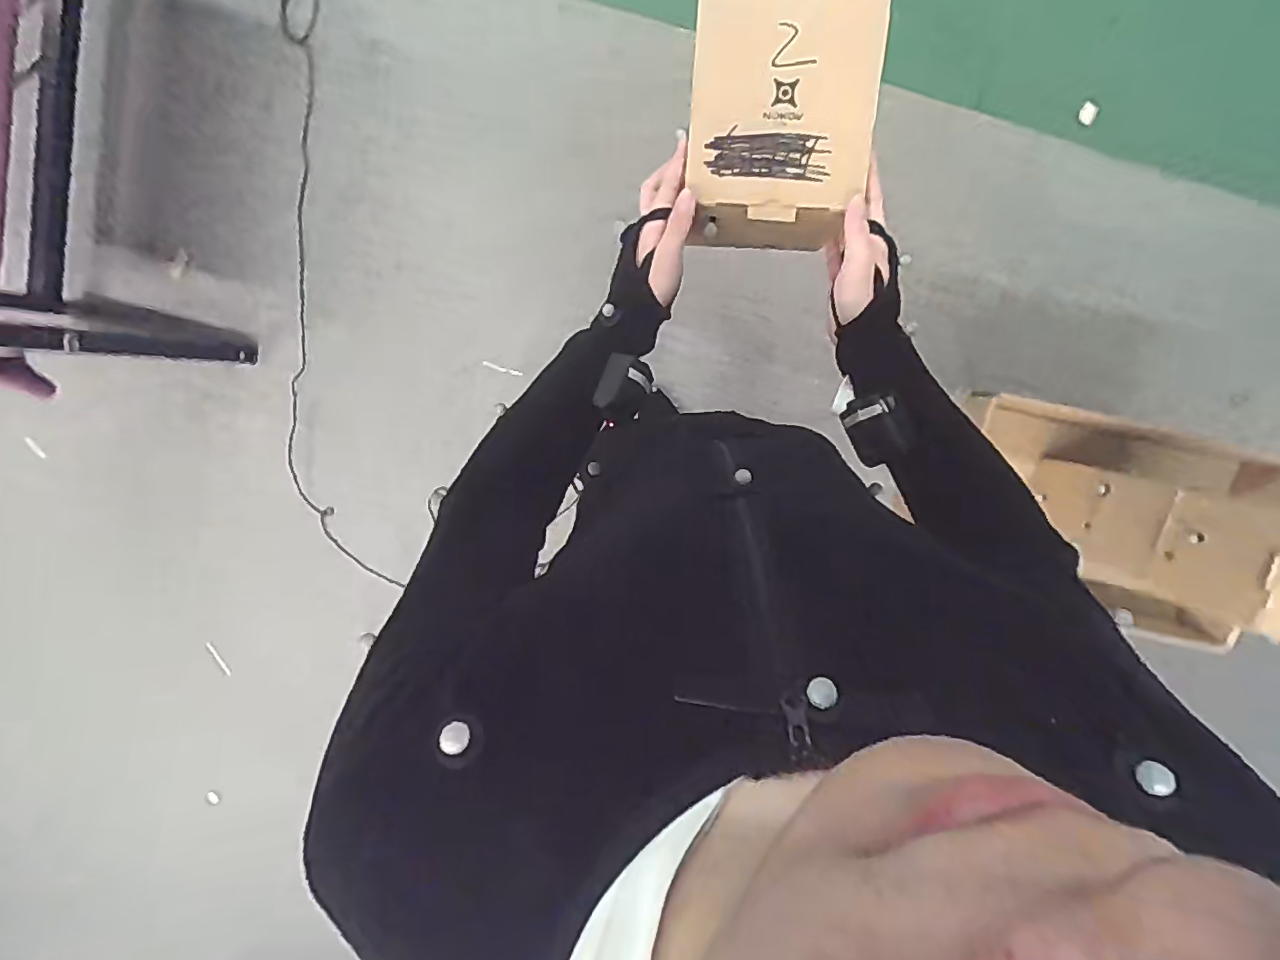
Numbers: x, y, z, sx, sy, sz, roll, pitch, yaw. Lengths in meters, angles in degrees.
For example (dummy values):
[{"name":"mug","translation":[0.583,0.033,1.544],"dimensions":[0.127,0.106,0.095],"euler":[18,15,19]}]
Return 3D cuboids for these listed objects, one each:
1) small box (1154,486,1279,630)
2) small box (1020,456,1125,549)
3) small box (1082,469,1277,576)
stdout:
[{"name":"small box","translation":[0.910,0.113,0.766],"dimensions":[0.179,0.176,0.168],"euler":[11,101,0]},{"name":"small box","translation":[0.924,0.055,1.086],"dimensions":[0.179,0.176,0.168],"euler":[13,100,-1]},{"name":"small box","translation":[0.919,0.082,0.925],"dimensions":[0.179,0.176,0.168],"euler":[11,100,-1]}]
